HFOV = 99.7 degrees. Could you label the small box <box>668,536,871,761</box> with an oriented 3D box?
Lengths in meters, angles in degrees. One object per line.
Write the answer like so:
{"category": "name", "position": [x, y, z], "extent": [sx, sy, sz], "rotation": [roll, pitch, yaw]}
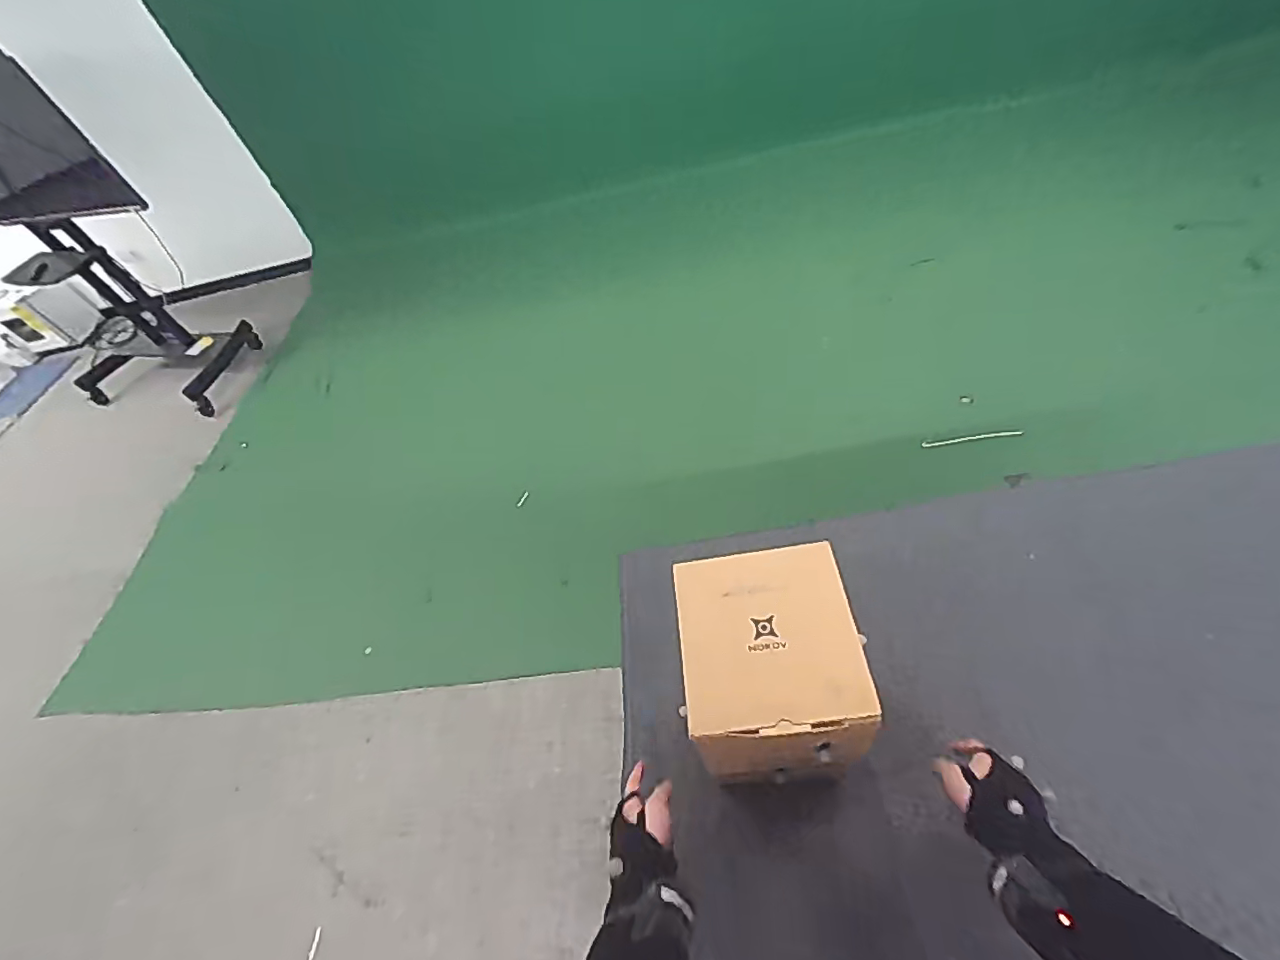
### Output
{"category": "small box", "position": [0.129, 0.187, 0.577], "extent": [0.168, 0.176, 0.179], "rotation": [-10, 49, 6]}

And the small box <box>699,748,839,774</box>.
{"category": "small box", "position": [0.162, 0.276, 0.709], "extent": [0.168, 0.176, 0.179], "rotation": [-8, 51, 8]}
